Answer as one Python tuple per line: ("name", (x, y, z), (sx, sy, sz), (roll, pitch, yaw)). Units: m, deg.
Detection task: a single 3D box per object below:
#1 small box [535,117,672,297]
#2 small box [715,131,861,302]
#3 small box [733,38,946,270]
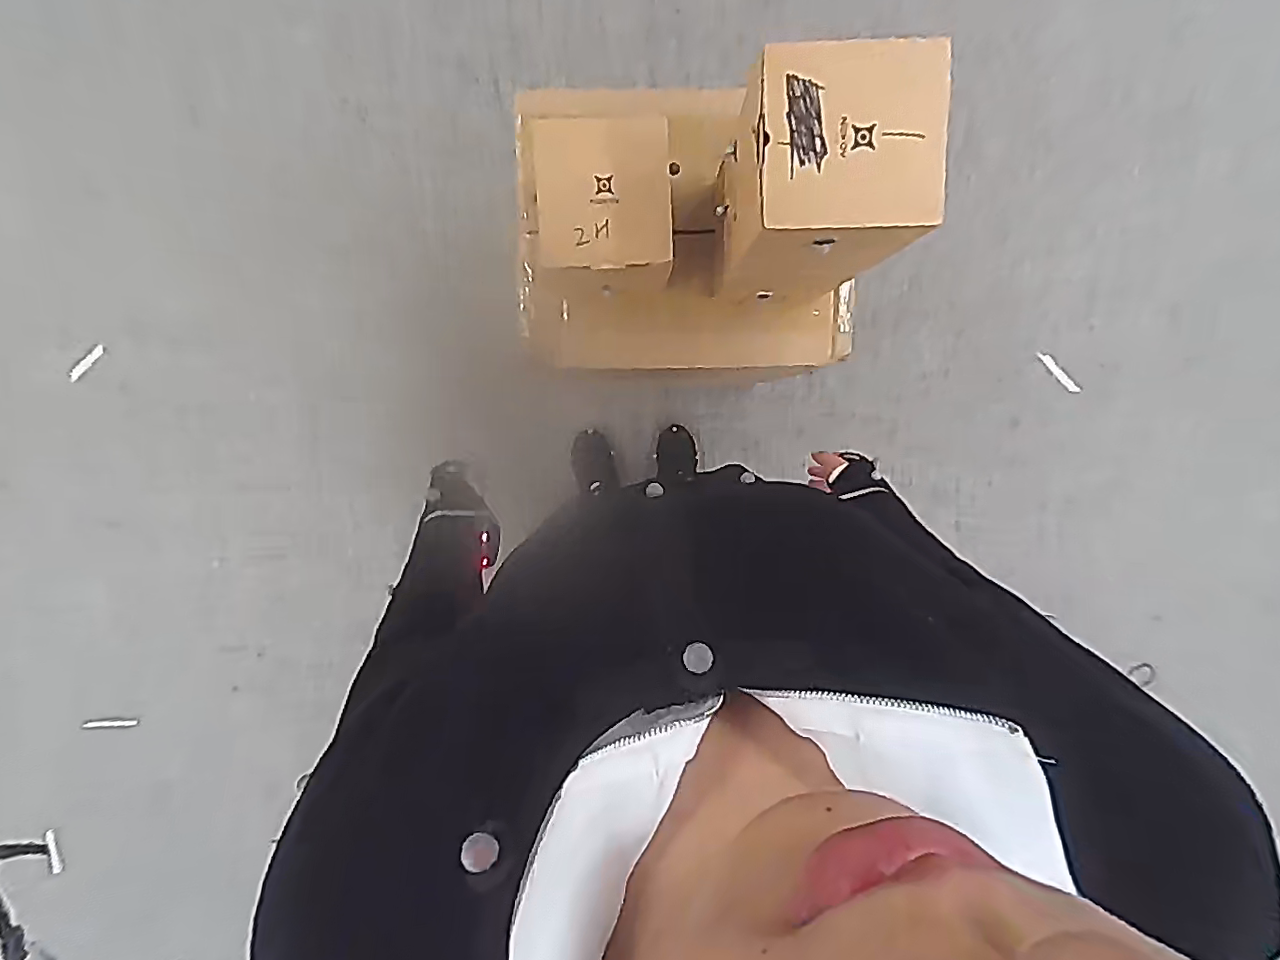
("small box", (-0.047, -0.362, 0.744), (0.168, 0.176, 0.179), (-3, 97, -2))
("small box", (0.196, -0.356, 0.753), (0.168, 0.176, 0.179), (-2, 99, 1))
("small box", (0.198, -0.335, 0.589), (0.179, 0.176, 0.168), (-1, 97, 0))
